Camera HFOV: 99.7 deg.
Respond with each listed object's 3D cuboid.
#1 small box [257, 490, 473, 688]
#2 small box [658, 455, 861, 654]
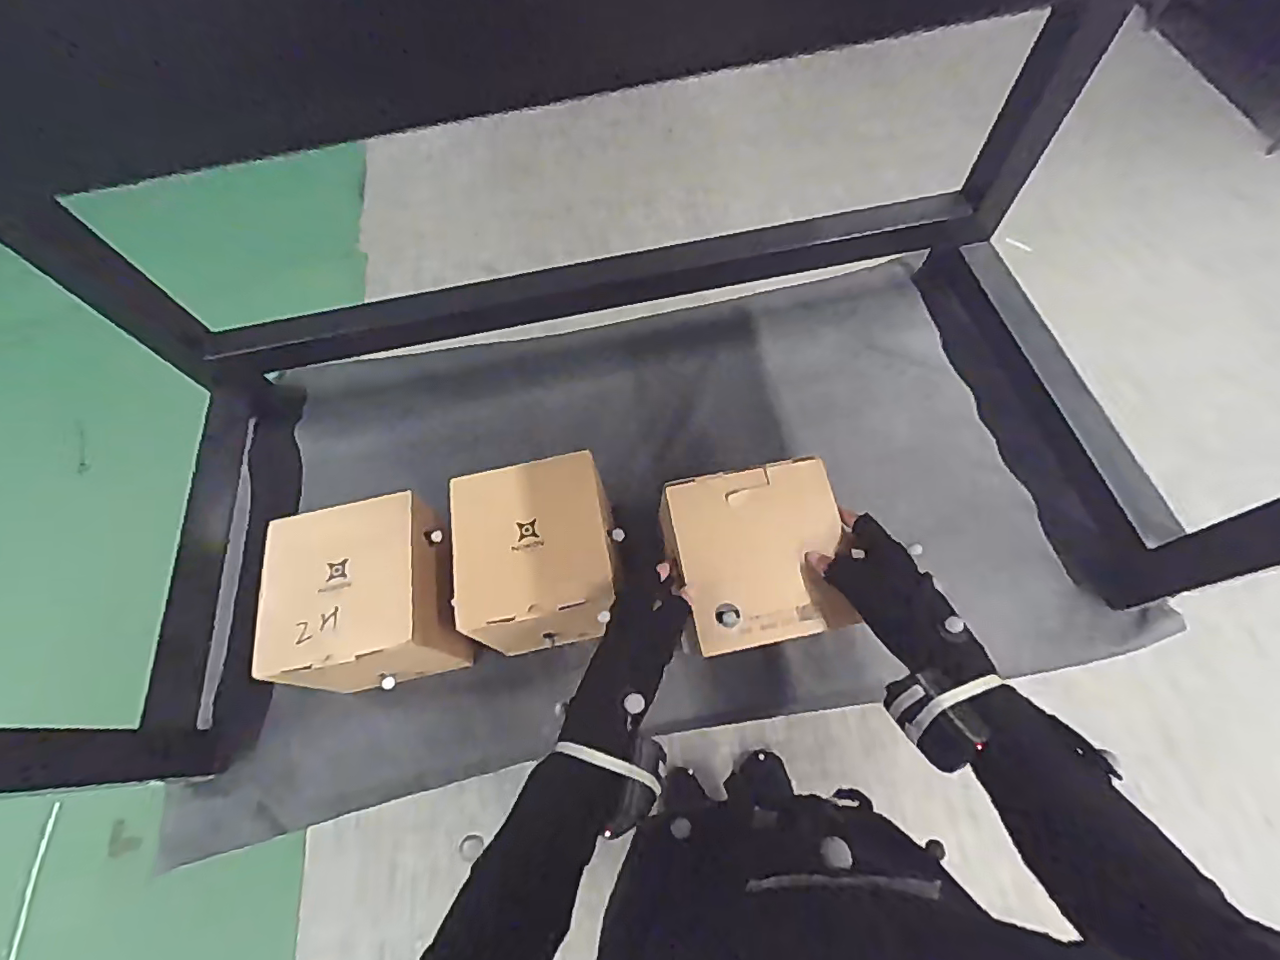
[{"bbox_3d":[-0.311,0.137,0.649,0.168,0.176,0.179,-12,64,-1],"label":"small box"},{"bbox_3d":[0.119,0.092,0.602,0.168,0.179,0.176,-11,72,-3],"label":"small box"}]
